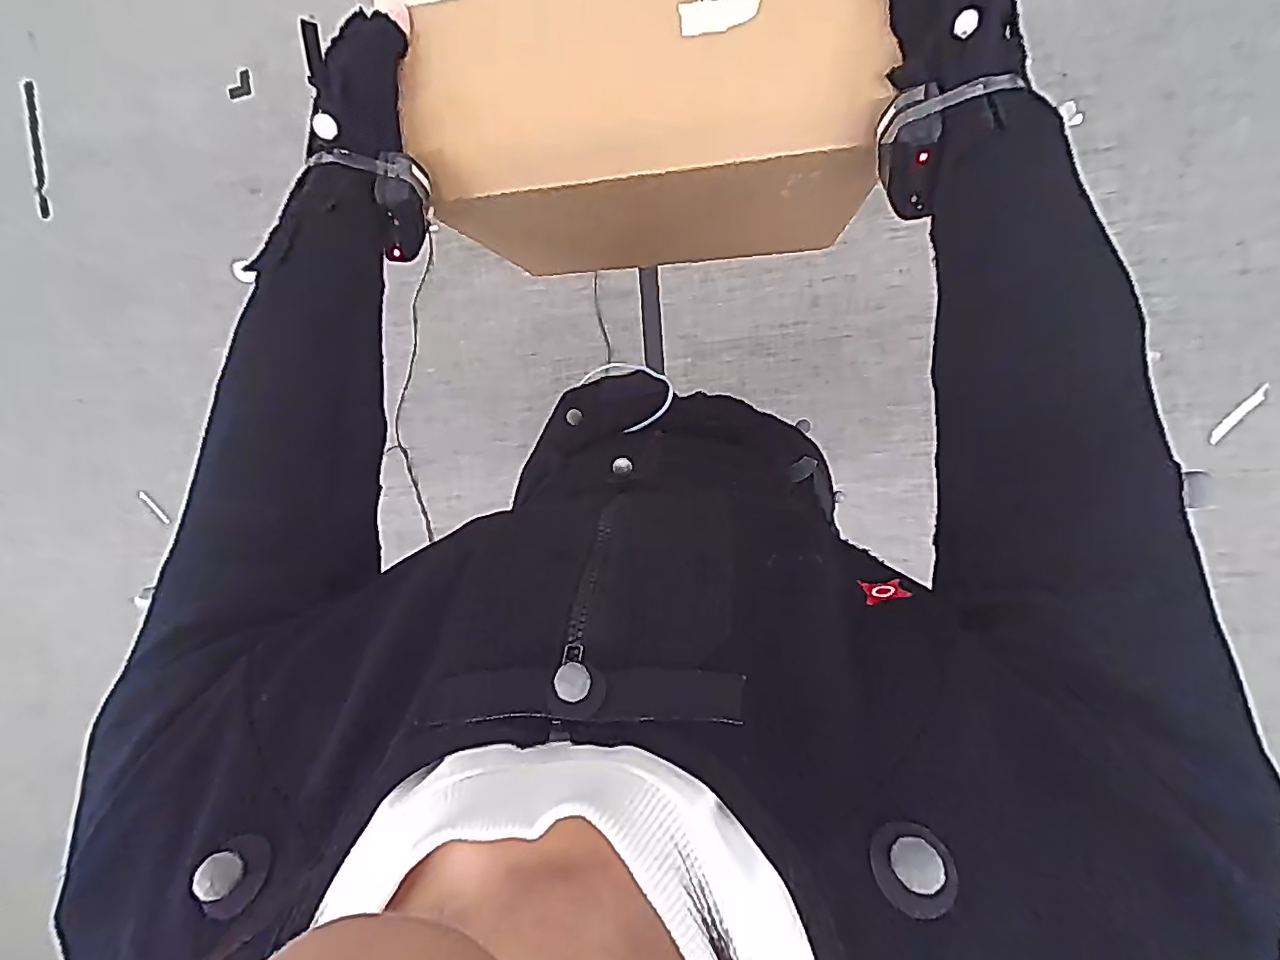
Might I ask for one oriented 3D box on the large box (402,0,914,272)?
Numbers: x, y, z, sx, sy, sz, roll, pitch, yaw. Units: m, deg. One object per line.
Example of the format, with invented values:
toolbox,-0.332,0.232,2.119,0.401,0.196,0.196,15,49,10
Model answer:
large box,0.018,-0.427,0.560,0.408,0.320,0.320,-3,100,9
